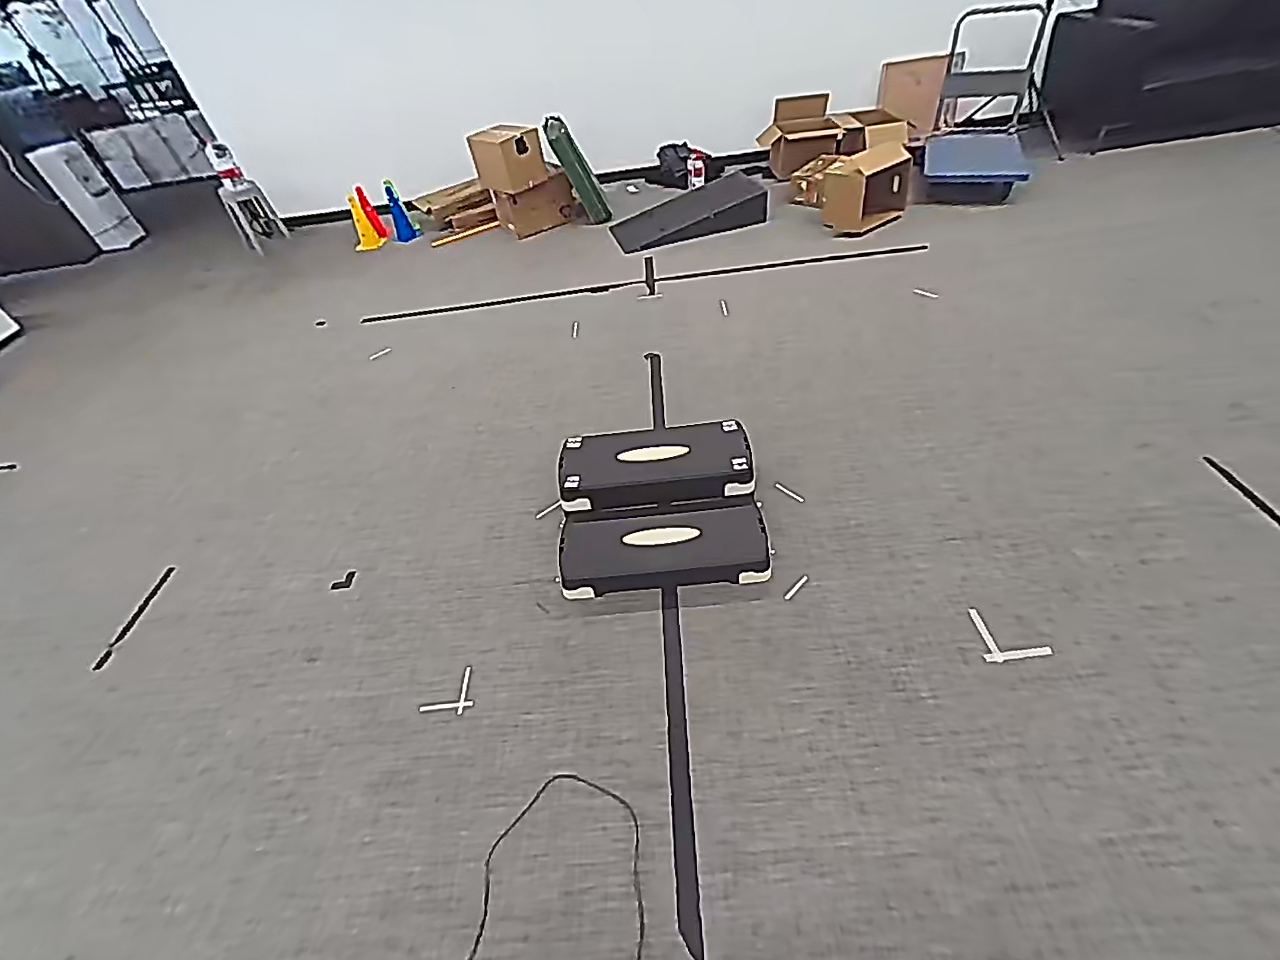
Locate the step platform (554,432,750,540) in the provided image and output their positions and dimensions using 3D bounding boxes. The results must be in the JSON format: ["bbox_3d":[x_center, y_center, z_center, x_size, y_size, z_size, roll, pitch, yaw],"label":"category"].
[{"bbox_3d":[0.039,0.015,1.919,0.684,0.204,0.286,-6,45,2],"label":"step platform"}]
